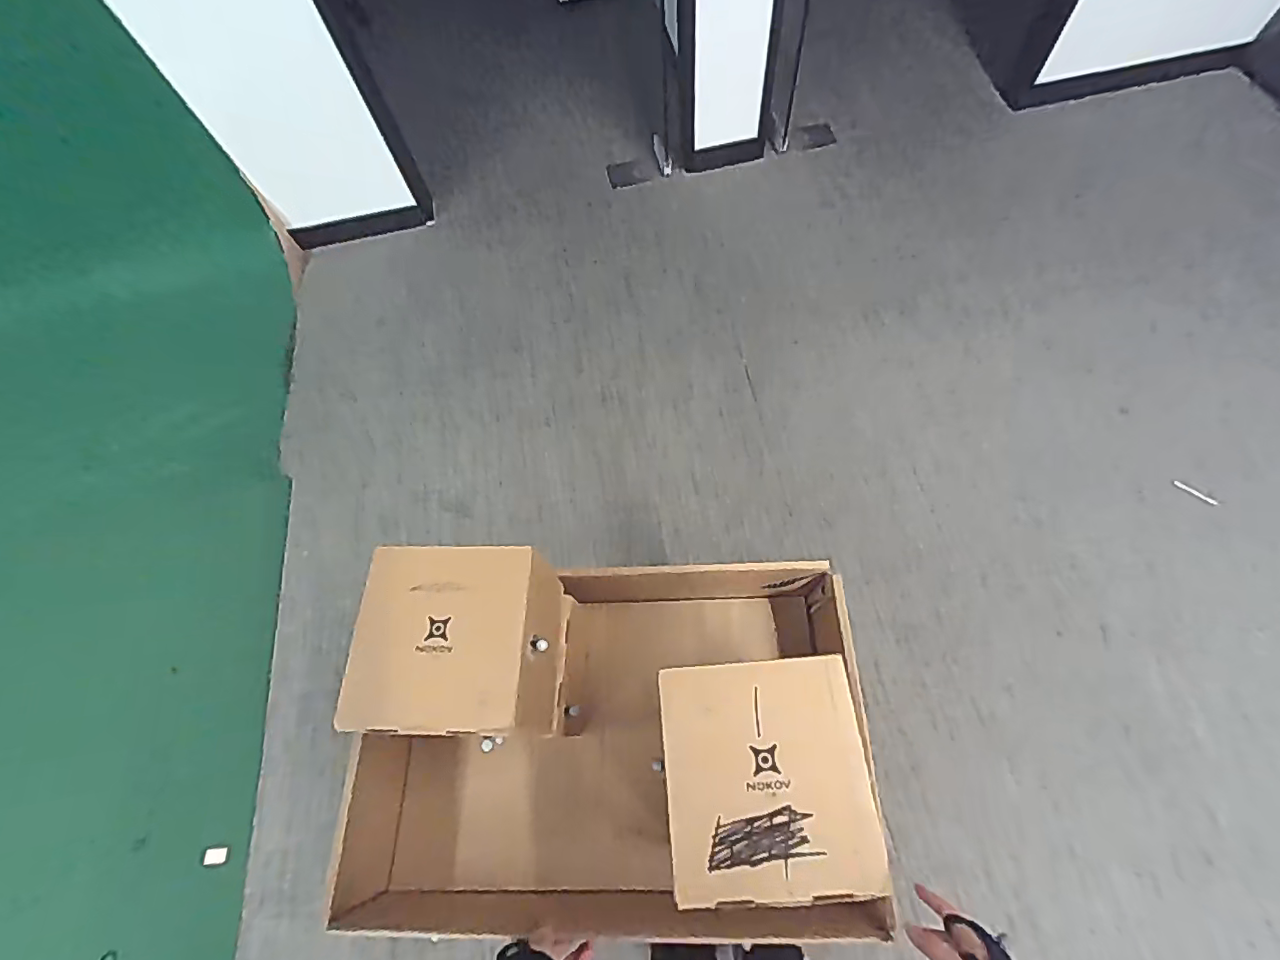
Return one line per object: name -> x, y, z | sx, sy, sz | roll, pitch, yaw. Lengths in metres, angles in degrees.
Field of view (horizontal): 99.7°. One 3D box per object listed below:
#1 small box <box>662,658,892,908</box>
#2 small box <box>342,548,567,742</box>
small box -> 0.112, 0.276, 0.516 | 0.168, 0.176, 0.179 | -5, 64, 2
small box -> -0.179, 0.182, 0.586 | 0.168, 0.176, 0.179 | 0, 65, 4
